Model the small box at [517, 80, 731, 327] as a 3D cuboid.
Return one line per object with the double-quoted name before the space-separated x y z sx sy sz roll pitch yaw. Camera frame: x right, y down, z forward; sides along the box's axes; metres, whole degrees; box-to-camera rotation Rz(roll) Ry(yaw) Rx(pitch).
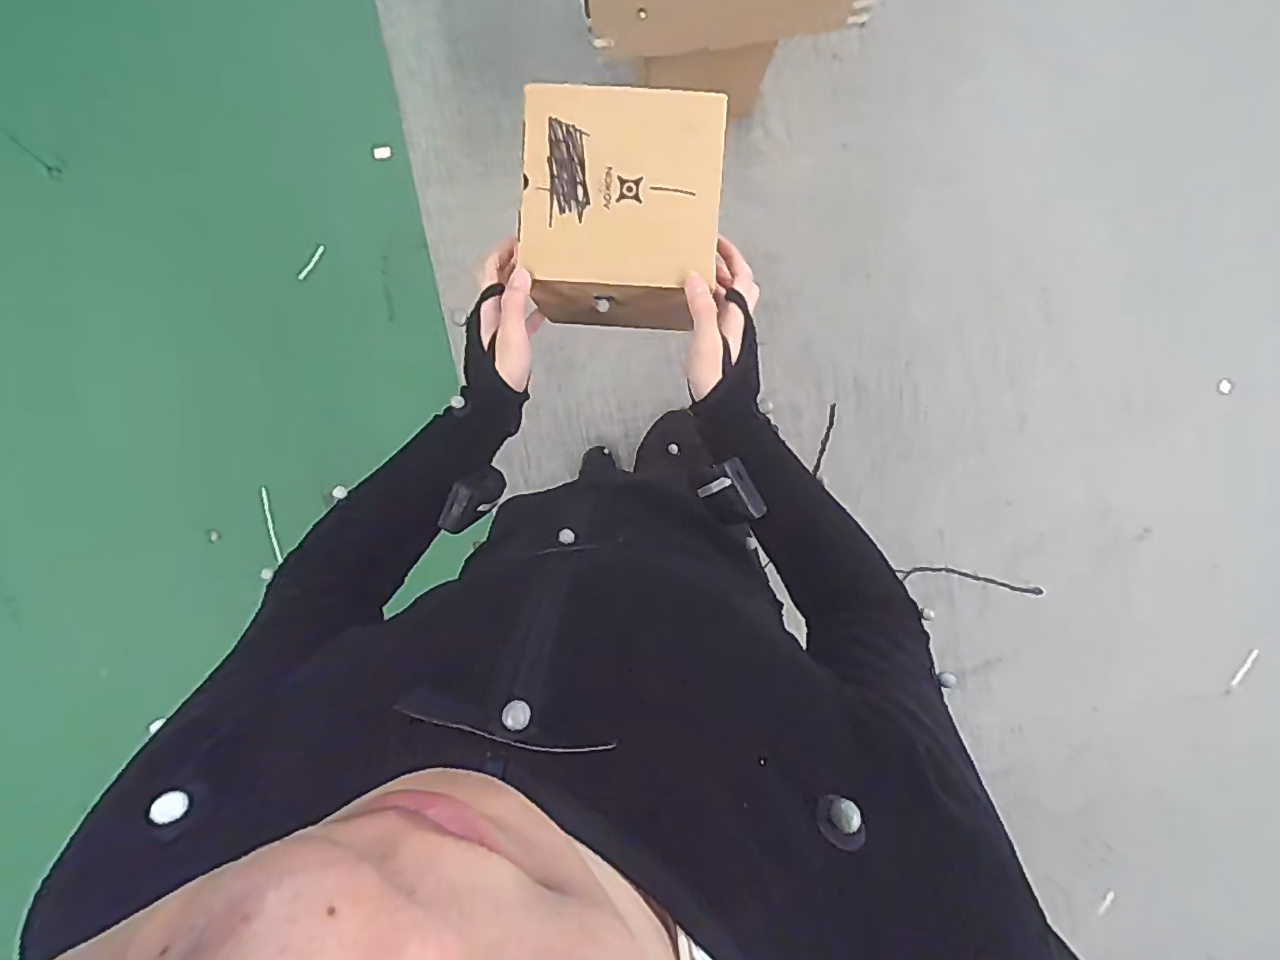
"small box" -0.013 -0.258 0.543 0.179 0.176 0.168 4 93 0
